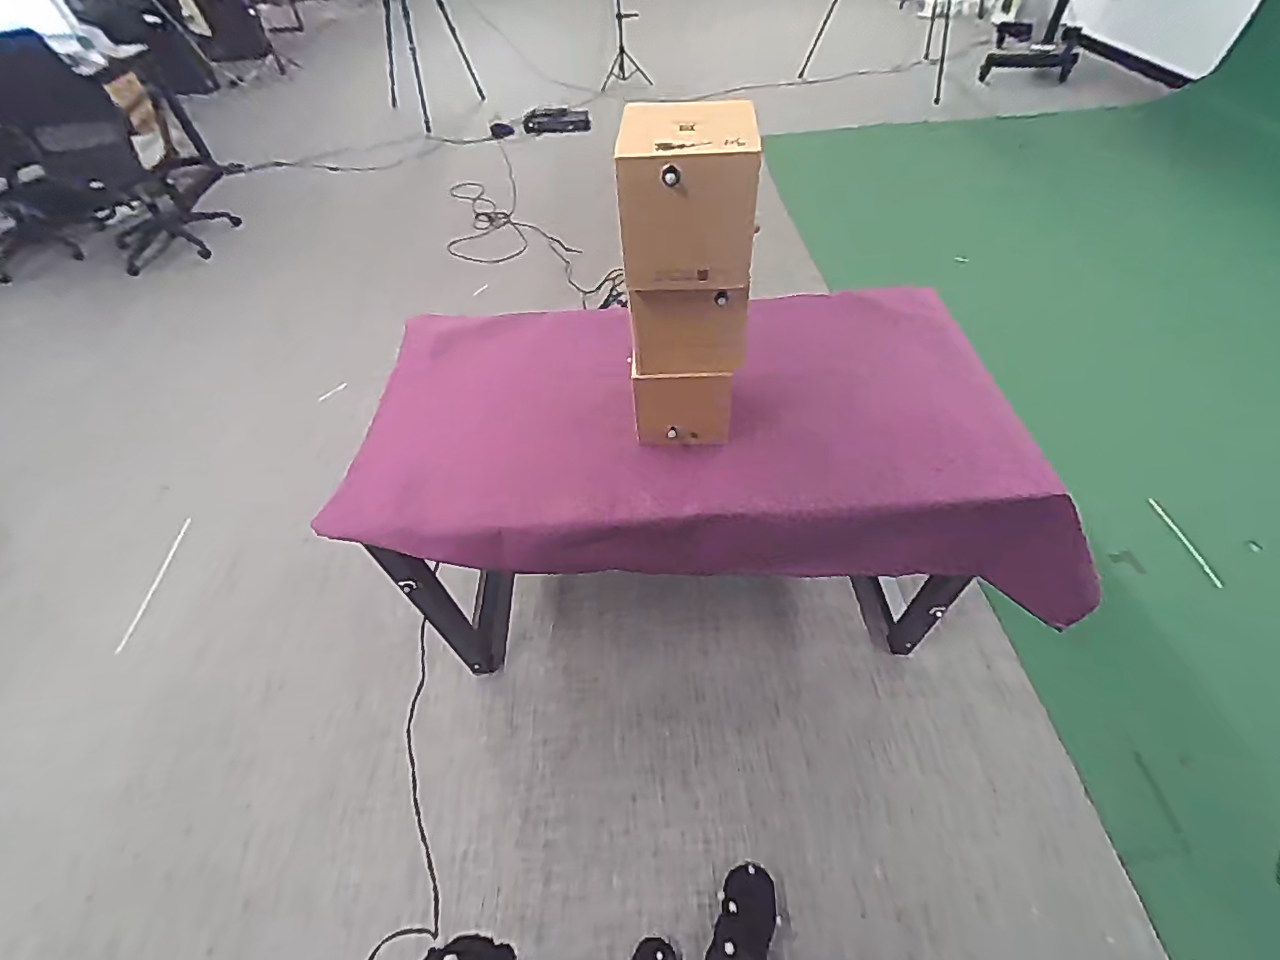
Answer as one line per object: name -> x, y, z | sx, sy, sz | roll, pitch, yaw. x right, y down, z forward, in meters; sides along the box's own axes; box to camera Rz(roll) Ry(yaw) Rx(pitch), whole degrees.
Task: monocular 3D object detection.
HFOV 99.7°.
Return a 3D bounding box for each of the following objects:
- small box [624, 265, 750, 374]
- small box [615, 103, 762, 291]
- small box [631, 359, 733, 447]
small box -> 0.072, -0.282, 0.849 | 0.179, 0.176, 0.168 | -2, 51, 3
small box -> 0.062, -0.367, 0.707 | 0.168, 0.176, 0.179 | 0, 50, 5
small box -> 0.075, -0.178, 0.973 | 0.168, 0.176, 0.179 | -1, 51, 5
